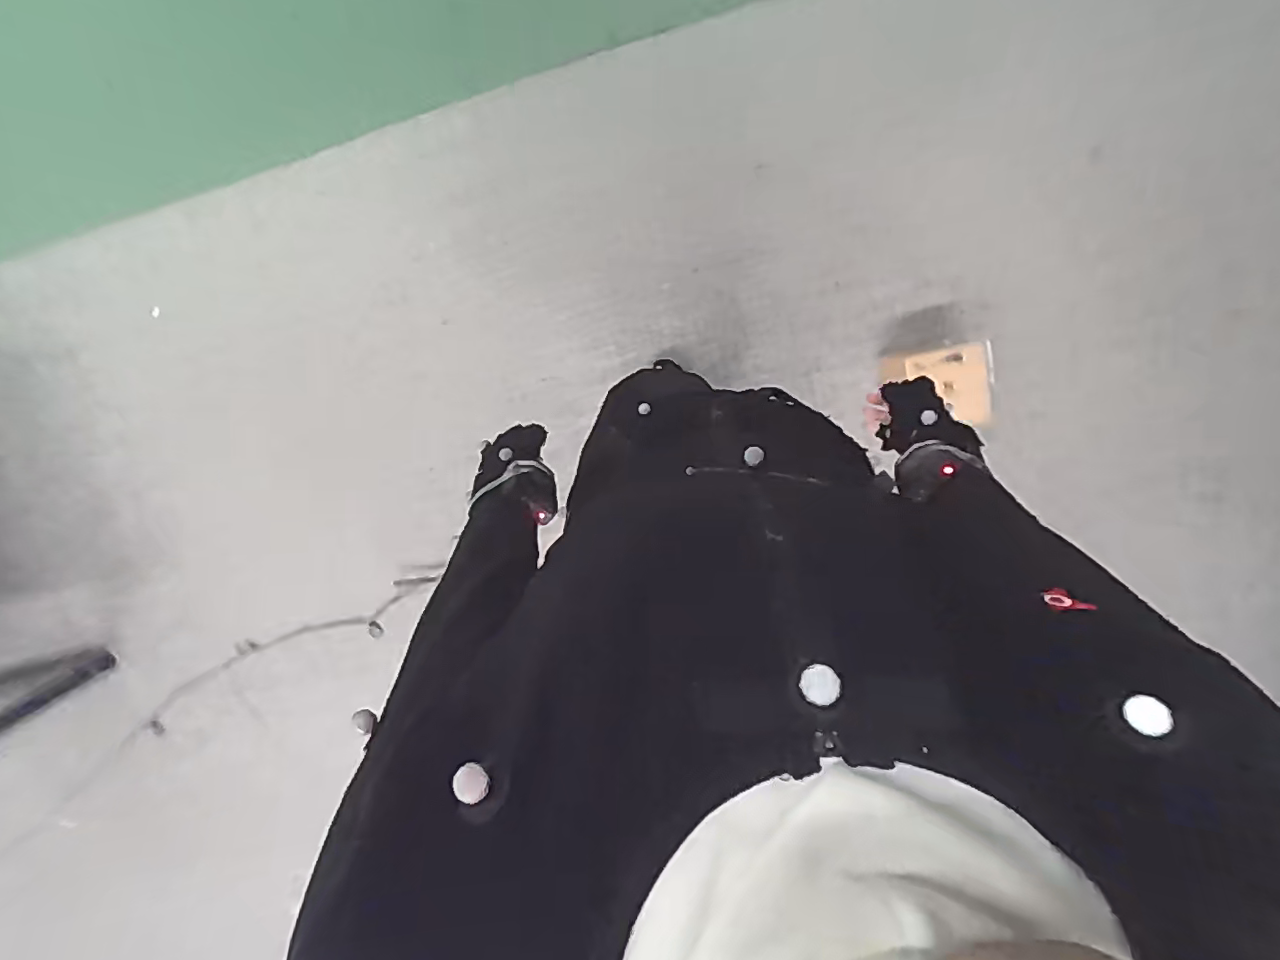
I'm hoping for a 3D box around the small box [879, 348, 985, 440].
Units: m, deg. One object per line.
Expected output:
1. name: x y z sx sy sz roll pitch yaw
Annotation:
1. small box: 0.671 -0.203 1.254 0.168 0.176 0.179 -10 103 7
